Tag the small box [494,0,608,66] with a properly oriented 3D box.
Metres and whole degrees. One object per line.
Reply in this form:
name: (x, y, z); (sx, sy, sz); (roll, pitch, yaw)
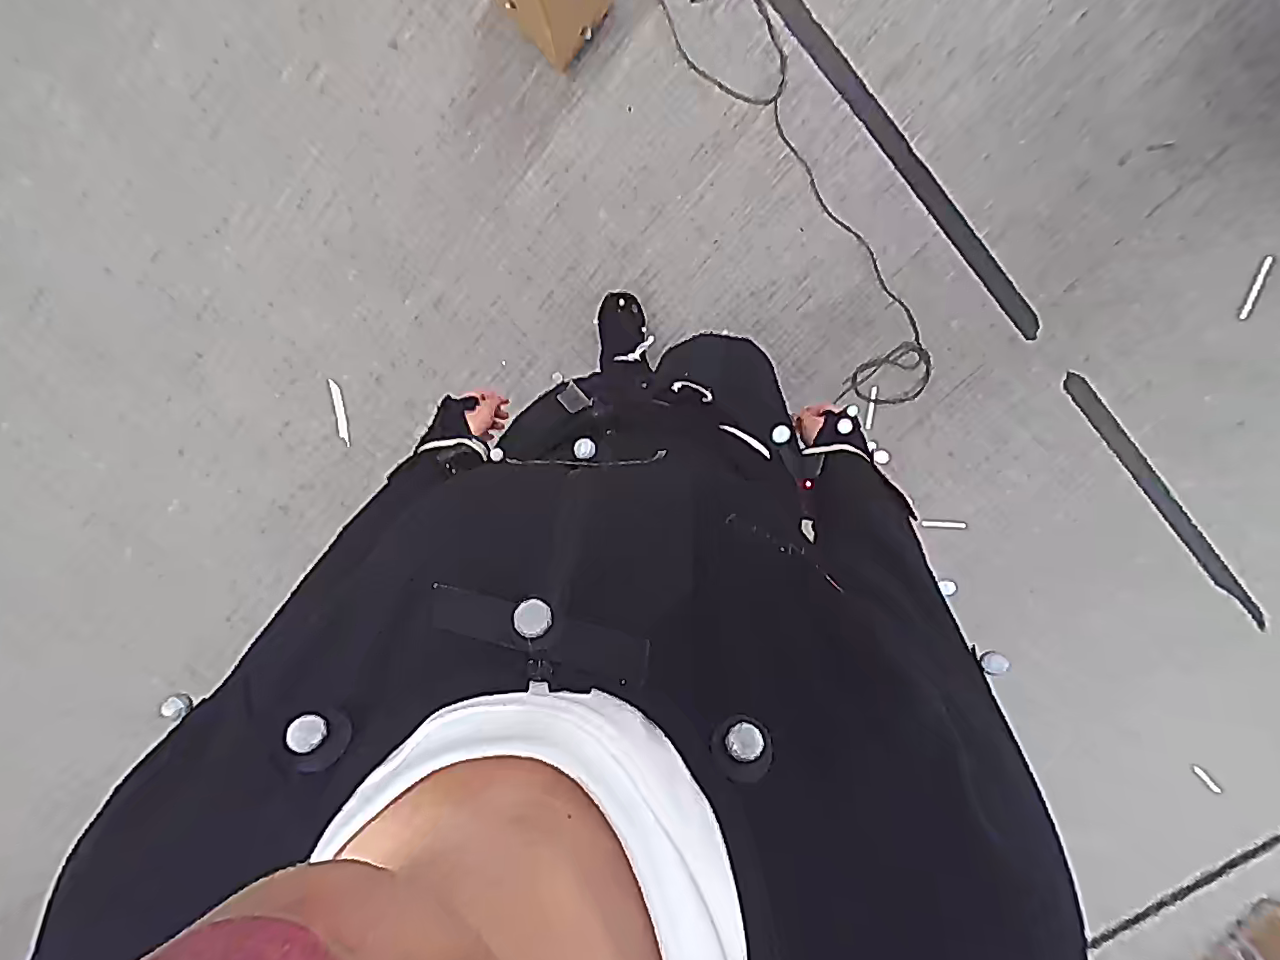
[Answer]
small box: (-0.174, -0.921, 0.993); (0.179, 0.176, 0.168); (41, 104, -15)
